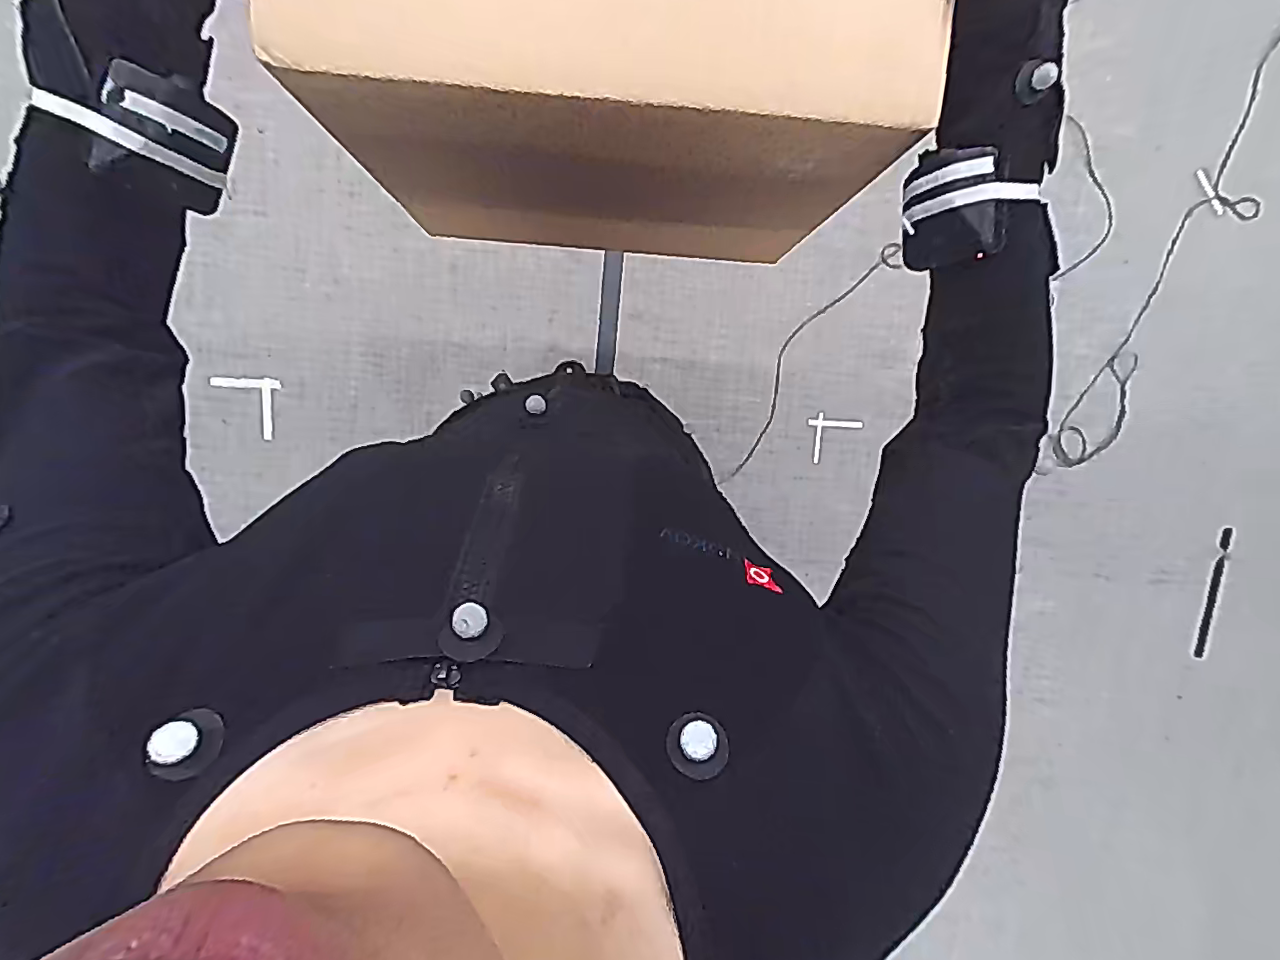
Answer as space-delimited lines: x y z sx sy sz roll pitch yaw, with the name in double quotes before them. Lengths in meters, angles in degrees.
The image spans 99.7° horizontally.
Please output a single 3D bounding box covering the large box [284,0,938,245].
"large box" -0.019 -0.412 0.461 0.408 0.320 0.320 2 98 -5
